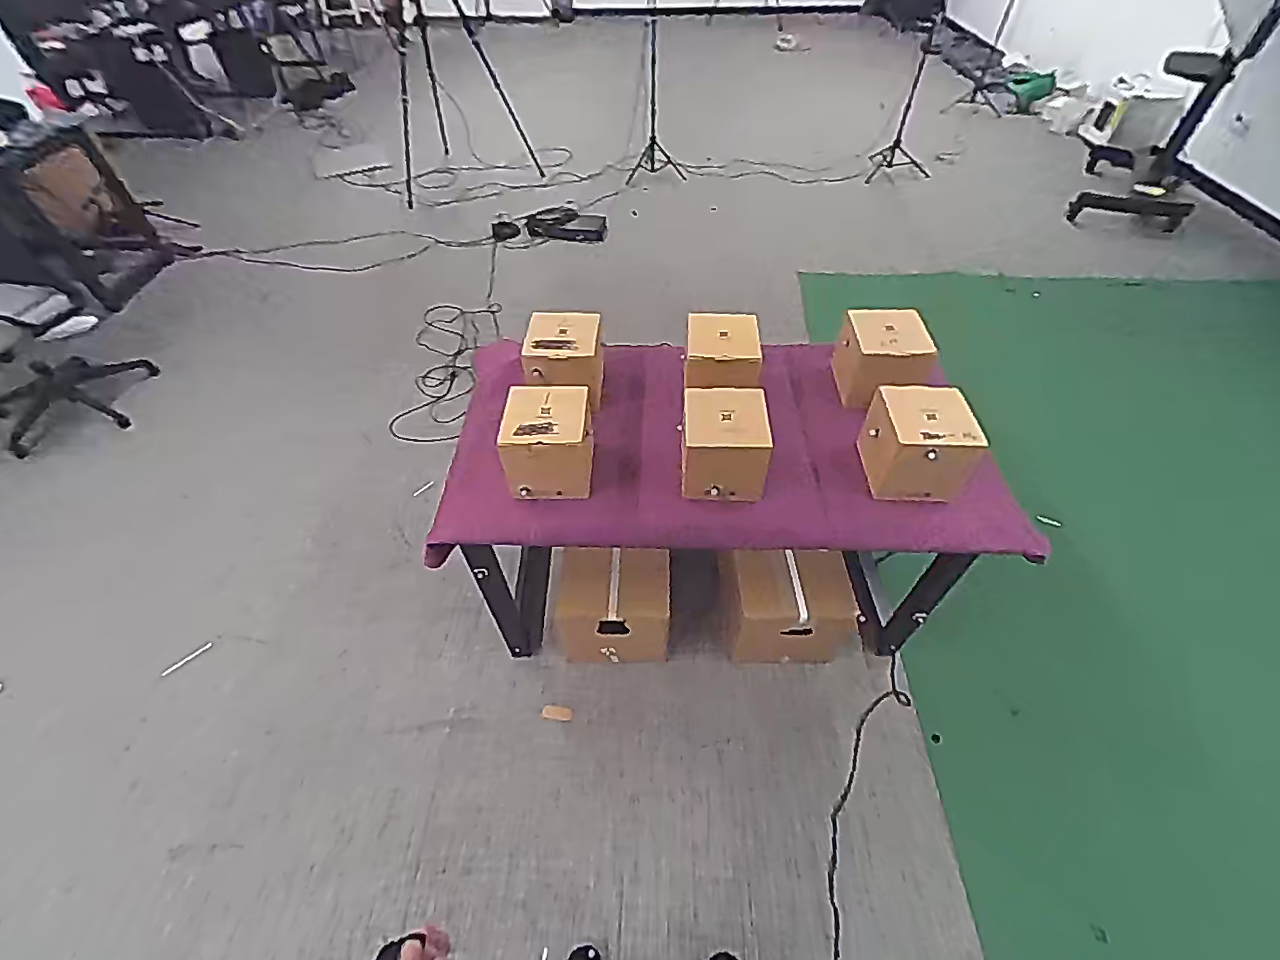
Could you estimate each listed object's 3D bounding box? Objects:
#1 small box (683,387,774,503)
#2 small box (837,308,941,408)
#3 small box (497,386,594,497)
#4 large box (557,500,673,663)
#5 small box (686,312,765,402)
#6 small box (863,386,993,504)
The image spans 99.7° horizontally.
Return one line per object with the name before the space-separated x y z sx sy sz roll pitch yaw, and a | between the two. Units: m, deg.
small box | 0.175 -0.073 1.125 0.168 0.176 0.179 1 49 3
small box | 0.585 -0.291 1.298 0.168 0.176 0.179 1 50 4
small box | -0.187 -0.078 1.135 0.168 0.176 0.179 0 48 1
large box | -0.063 0.315 1.669 0.320 0.320 0.408 1 49 1
small box | 0.199 -0.281 1.303 0.168 0.176 0.179 2 51 3
small box | 0.576 -0.073 1.113 0.168 0.176 0.179 1 47 4
